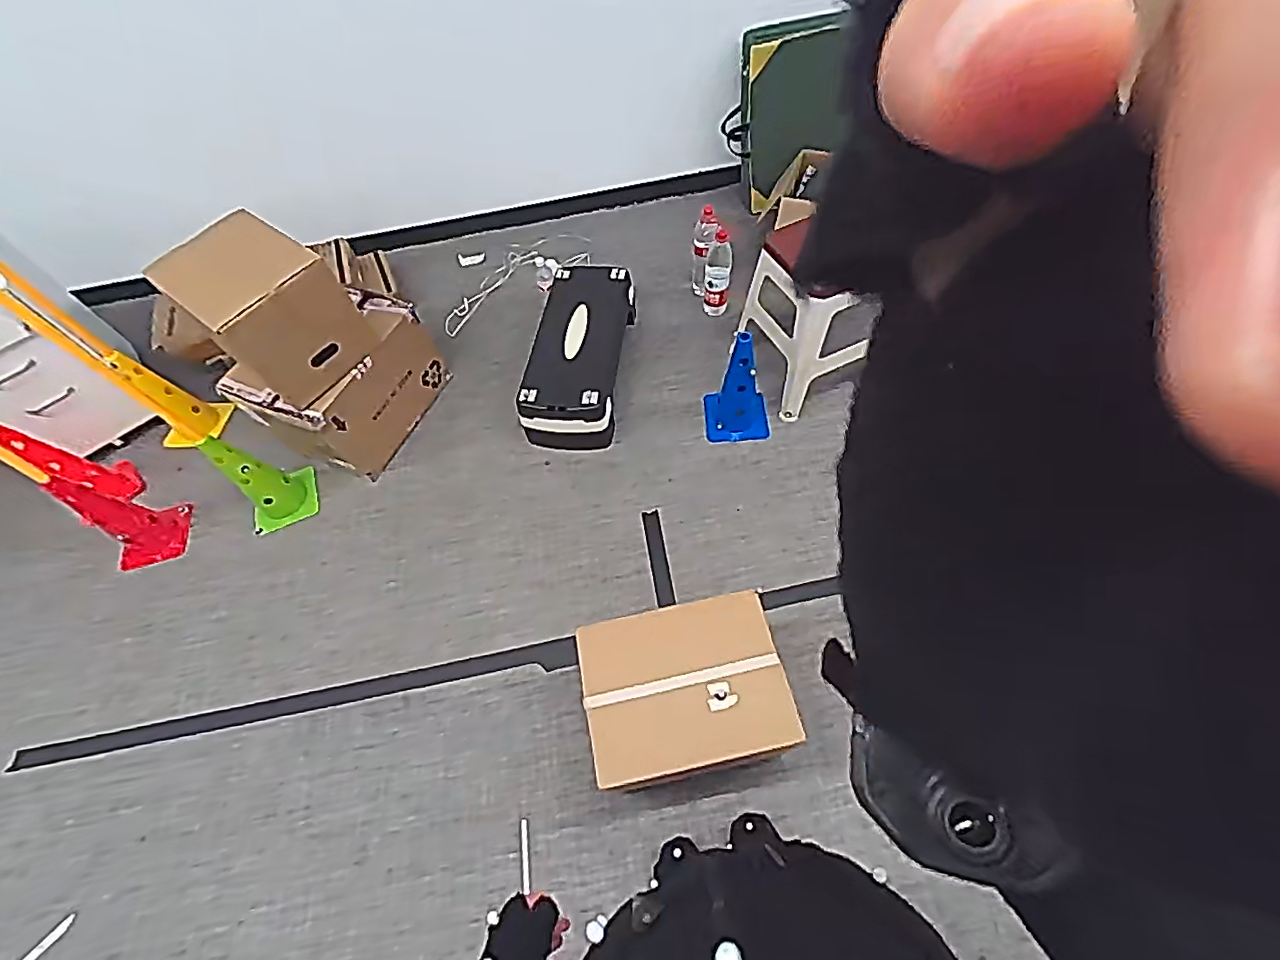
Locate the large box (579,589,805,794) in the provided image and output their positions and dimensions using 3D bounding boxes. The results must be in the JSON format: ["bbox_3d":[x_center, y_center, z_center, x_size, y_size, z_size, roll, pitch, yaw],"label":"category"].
[{"bbox_3d":[0.101,0.486,1.220,0.408,0.320,0.320,-12,59,-3],"label":"large box"}]
